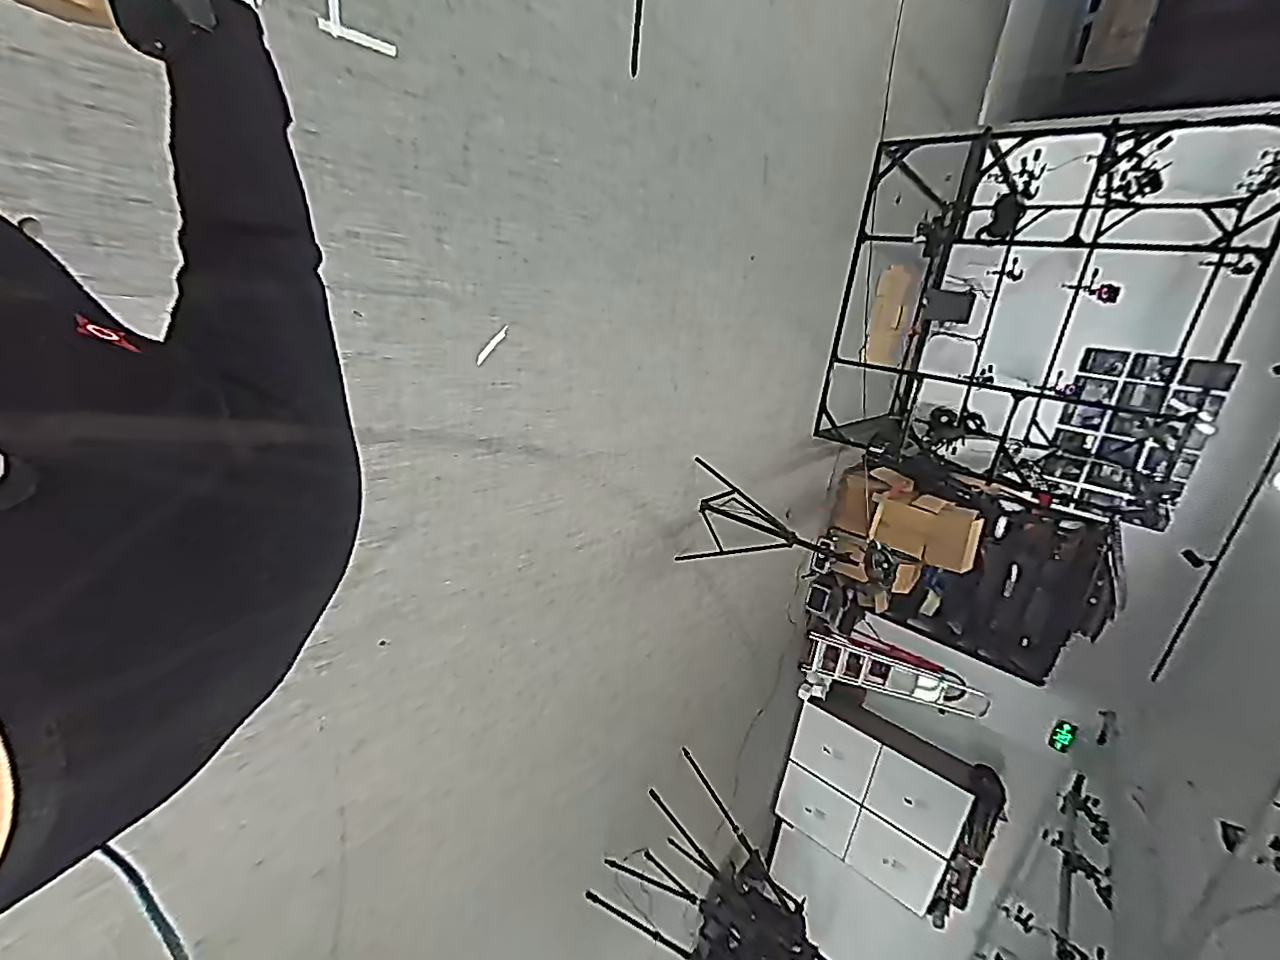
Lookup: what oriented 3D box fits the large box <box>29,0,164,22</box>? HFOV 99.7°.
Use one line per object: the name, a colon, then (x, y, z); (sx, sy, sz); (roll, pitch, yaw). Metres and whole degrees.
large box: (-0.530, -0.509, 0.256); (0.408, 0.320, 0.320); (-9, 125, -53)
